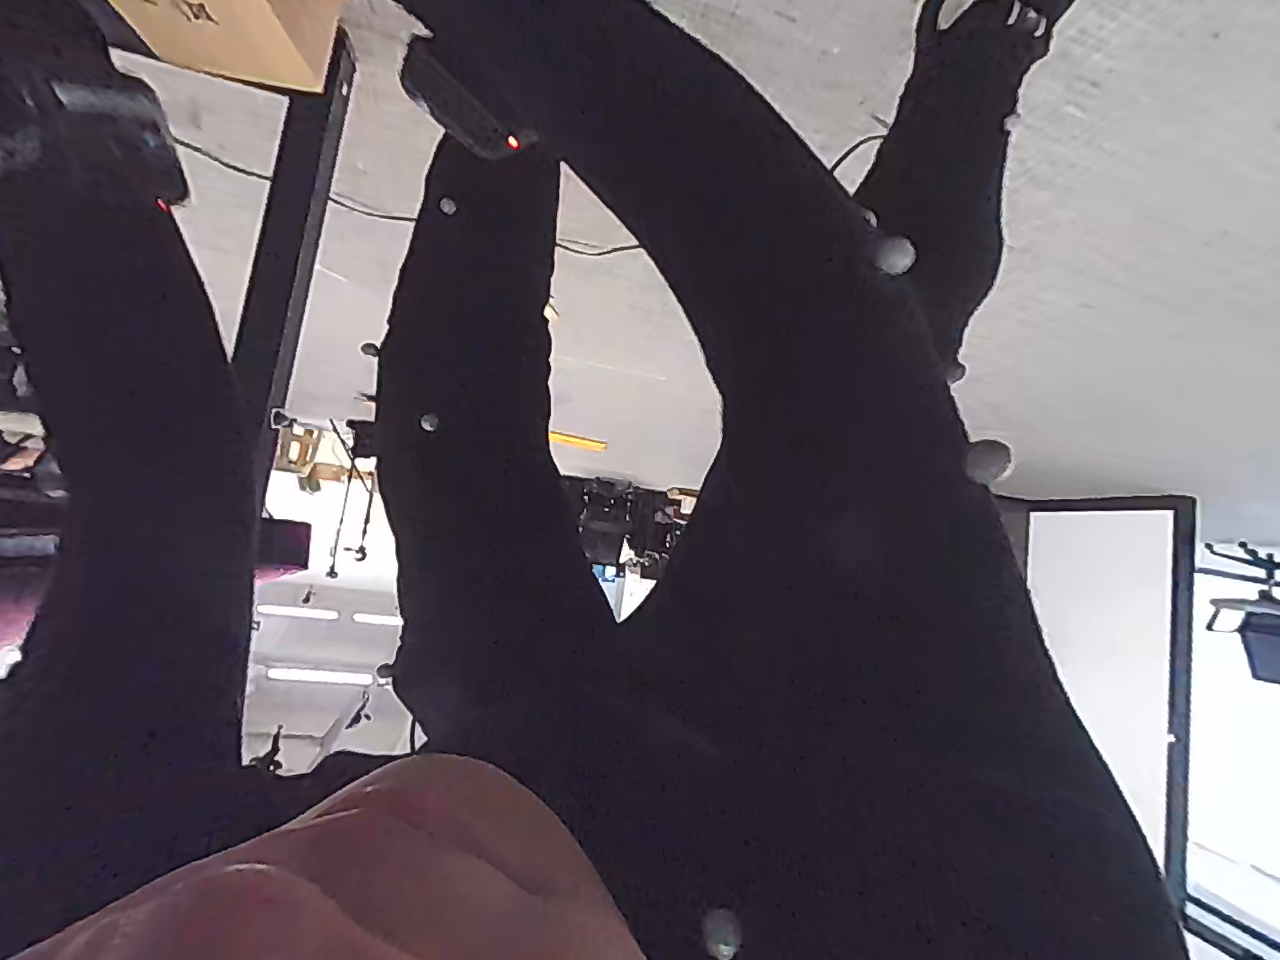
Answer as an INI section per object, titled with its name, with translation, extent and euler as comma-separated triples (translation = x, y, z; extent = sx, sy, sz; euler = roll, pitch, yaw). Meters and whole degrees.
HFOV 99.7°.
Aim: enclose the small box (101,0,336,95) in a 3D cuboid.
[small box]
translation = -0.418, -0.527, 0.523
extent = 0.179, 0.176, 0.168
euler = 8, 173, -5
